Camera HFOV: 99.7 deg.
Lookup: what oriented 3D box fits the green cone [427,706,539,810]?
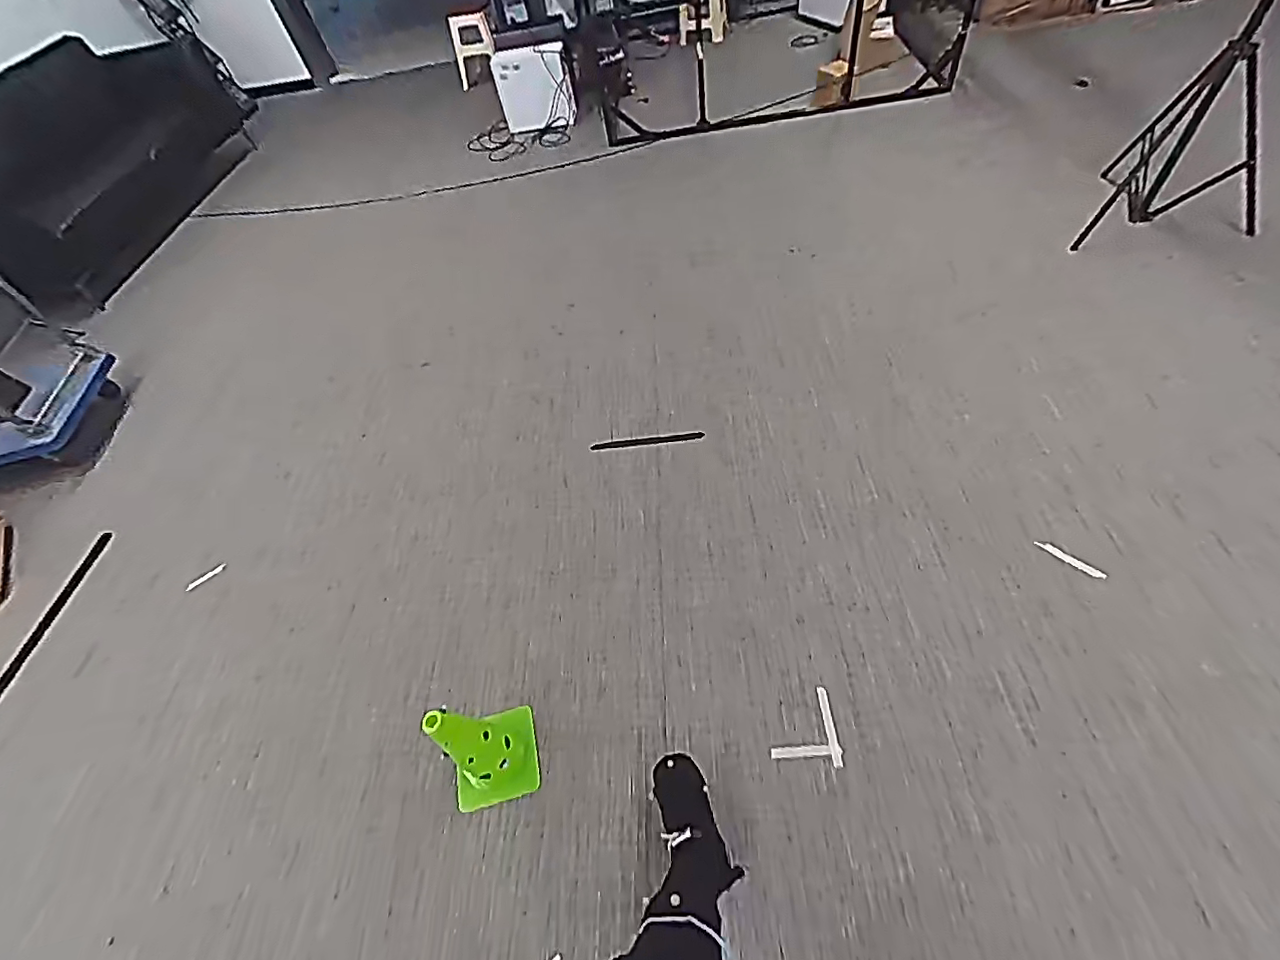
[{"bbox_3d":[-0.375,0.573,1.185,0.202,0.368,0.200,-16,53,-3],"label":"green cone"}]
